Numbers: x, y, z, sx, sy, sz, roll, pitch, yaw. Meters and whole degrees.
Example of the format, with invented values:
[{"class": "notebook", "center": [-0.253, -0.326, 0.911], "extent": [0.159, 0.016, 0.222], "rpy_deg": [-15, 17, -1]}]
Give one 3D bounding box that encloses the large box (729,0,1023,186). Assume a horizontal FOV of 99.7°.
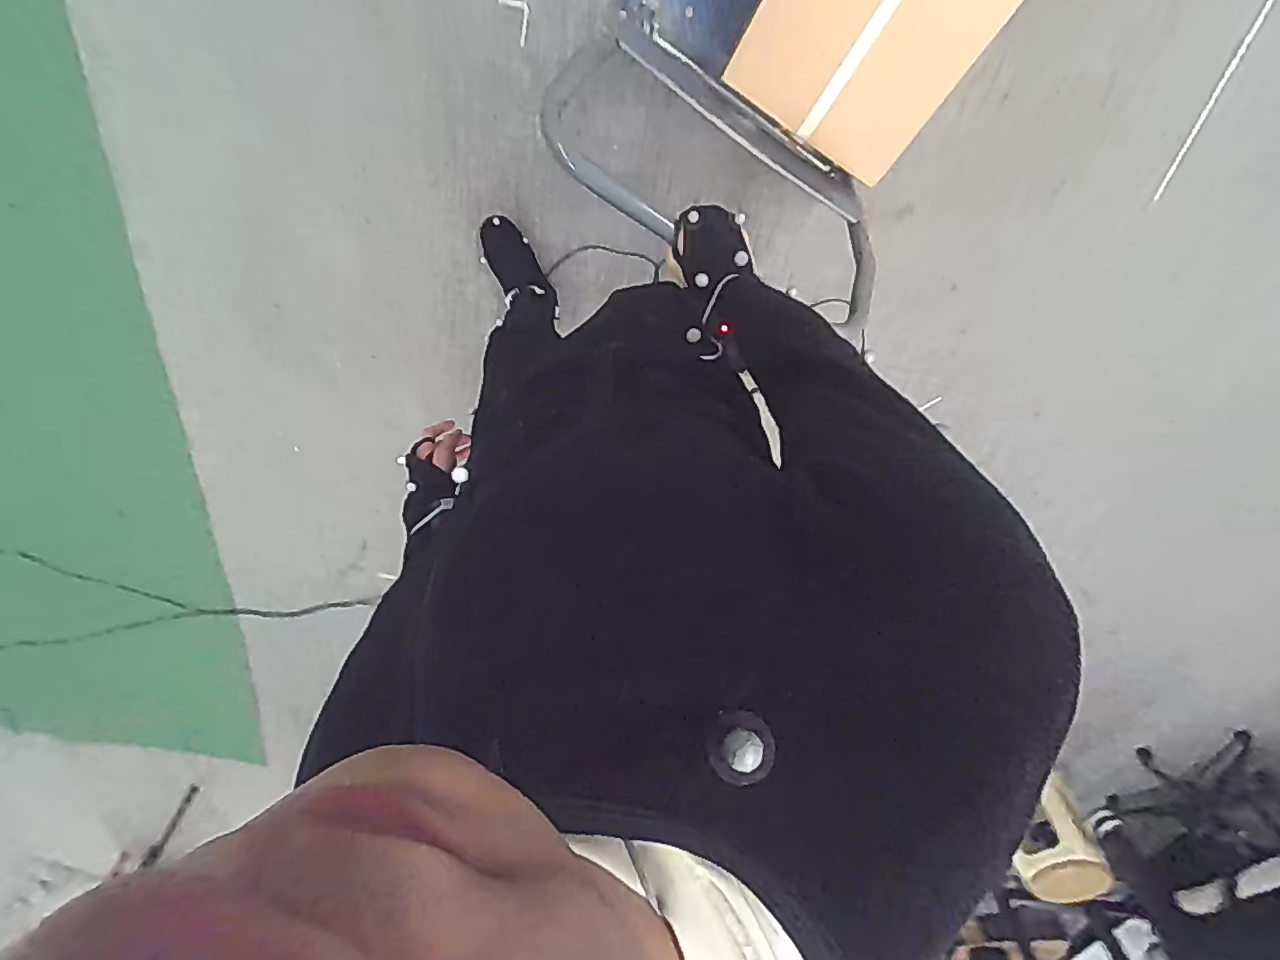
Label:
[{"class": "large box", "center": [0.385, -0.784, 0.877], "extent": [0.320, 0.320, 0.408], "rpy_deg": [27, 131, -14]}]
